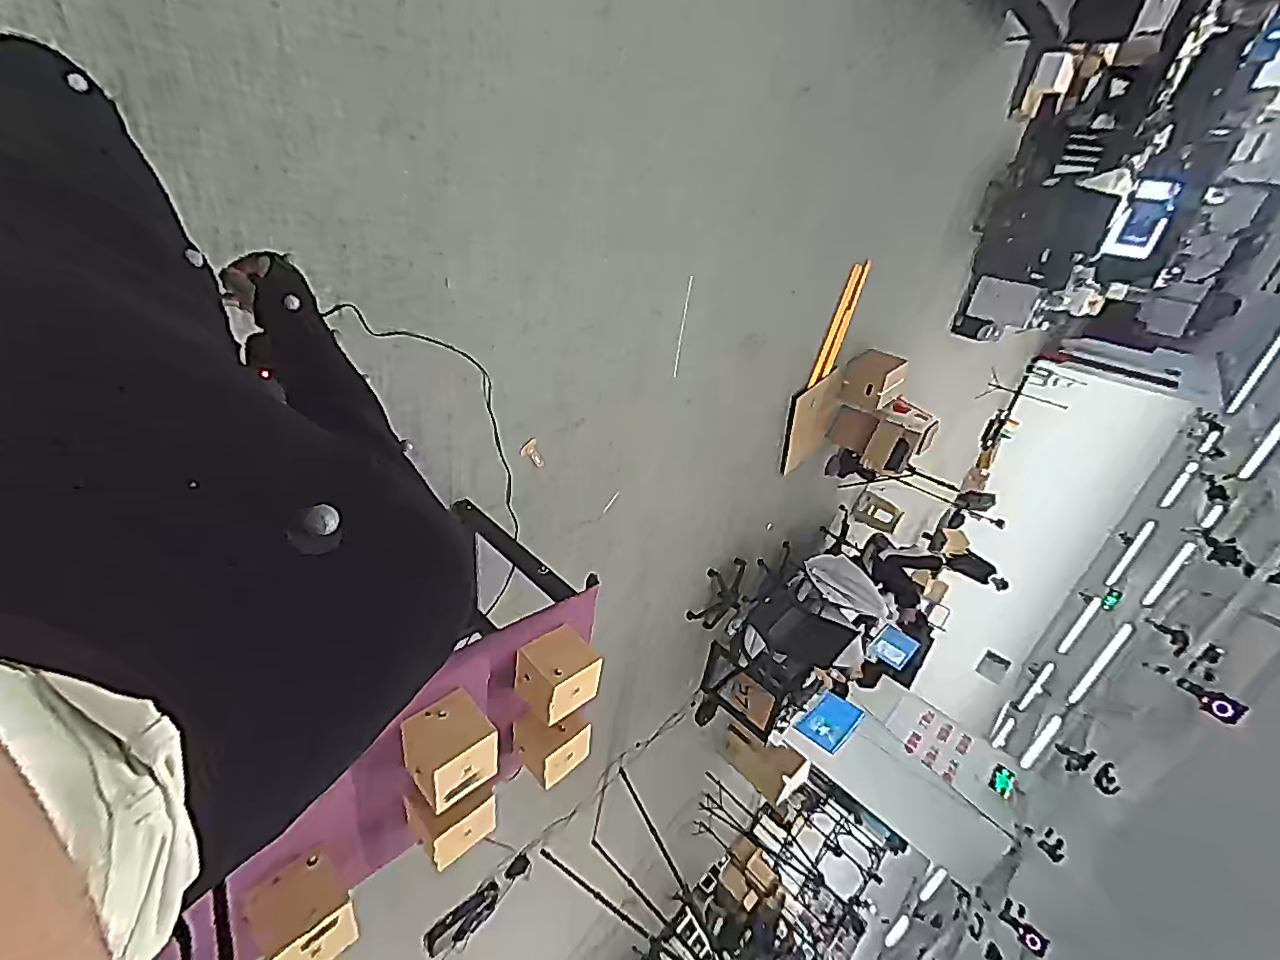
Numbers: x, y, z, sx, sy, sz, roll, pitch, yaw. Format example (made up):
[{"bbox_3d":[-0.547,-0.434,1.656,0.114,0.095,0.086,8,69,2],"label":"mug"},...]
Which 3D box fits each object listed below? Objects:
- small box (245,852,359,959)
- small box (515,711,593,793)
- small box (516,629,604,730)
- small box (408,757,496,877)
[{"bbox_3d":[-0.759,0.990,1.215,0.168,0.176,0.179,-20,130,-42],"label":"small box"},{"bbox_3d":[-0.270,0.811,1.679,0.179,0.176,0.168,-23,131,-39],"label":"small box"},{"bbox_3d":[-0.230,0.558,1.540,0.179,0.176,0.168,-19,131,-42],"label":"small box"},{"bbox_3d":[-0.509,0.898,1.456,0.179,0.176,0.168,-22,132,-41],"label":"small box"}]
